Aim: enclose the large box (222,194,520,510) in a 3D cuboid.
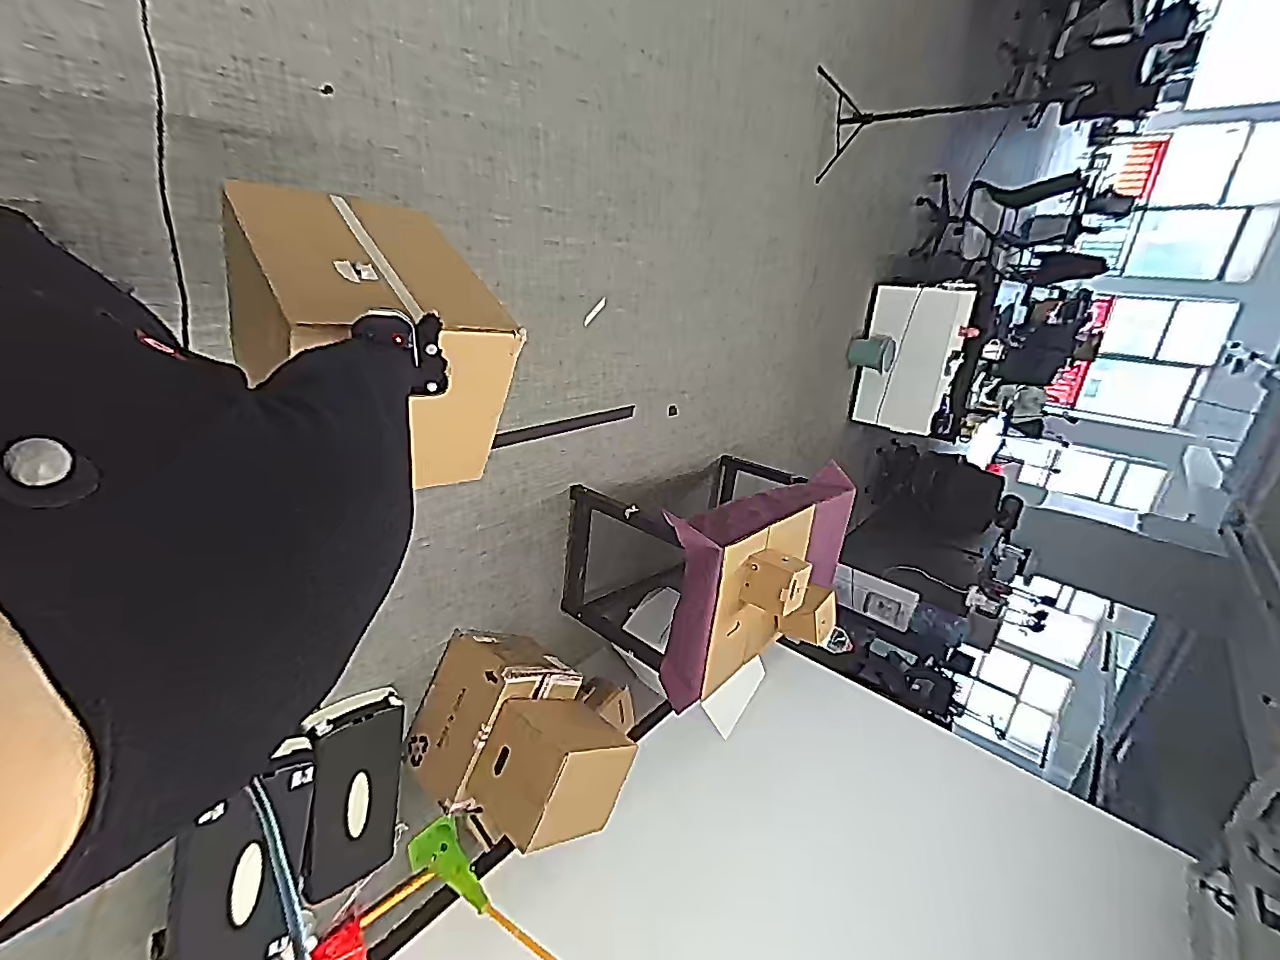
[{"bbox_3d":[-0.470,-0.215,0.920,0.320,0.408,0.320,-13,143,-42],"label":"large box"}]
